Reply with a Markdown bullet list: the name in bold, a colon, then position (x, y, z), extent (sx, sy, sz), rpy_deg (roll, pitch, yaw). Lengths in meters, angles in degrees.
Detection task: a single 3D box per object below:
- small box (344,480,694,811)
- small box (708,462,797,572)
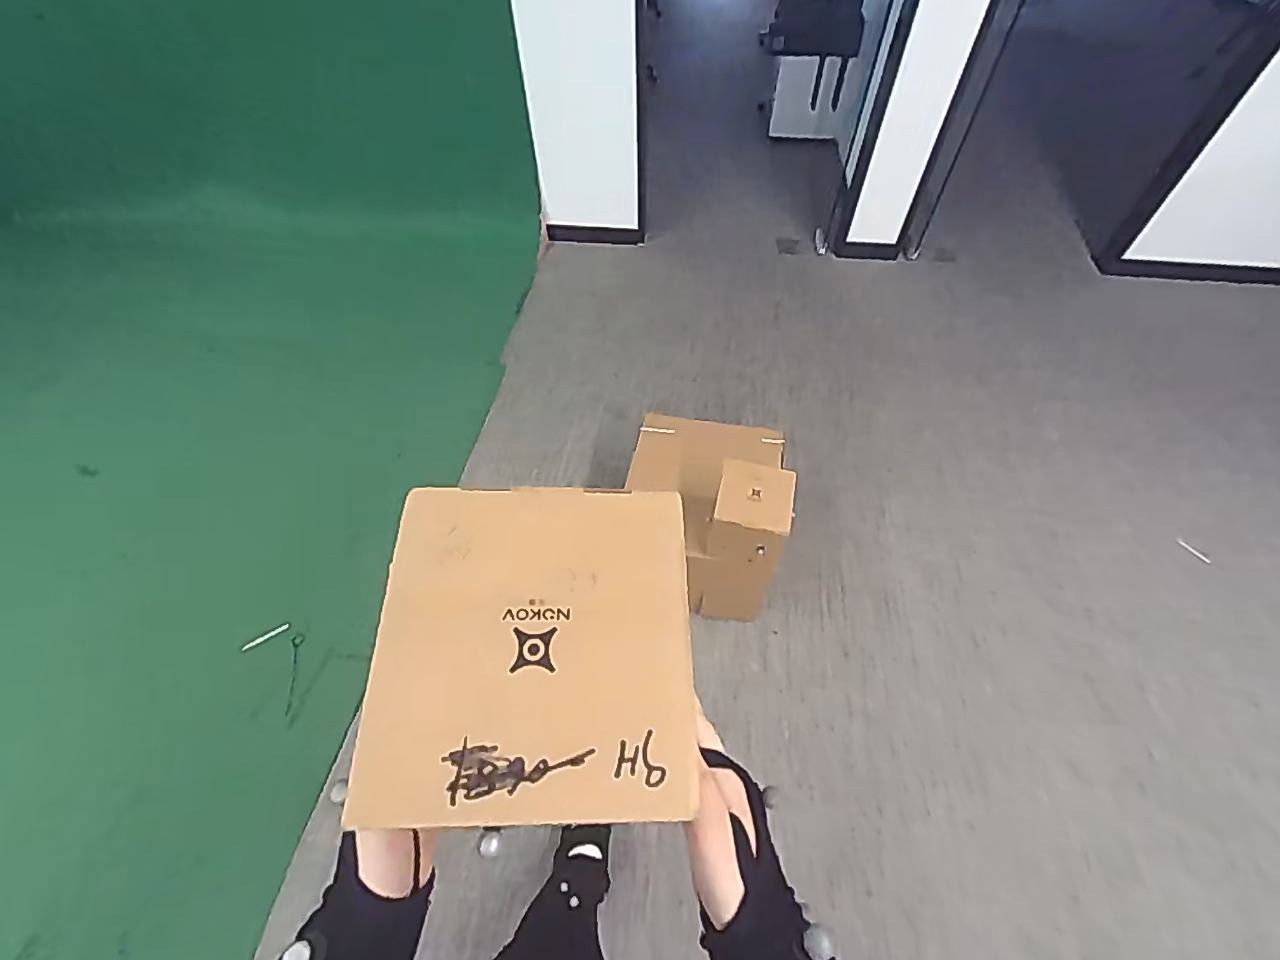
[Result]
- **small box**: position (-0.060, 0.117, 0.362), extent (0.168, 0.176, 0.179), rpy_deg (1, 60, -3)
- **small box**: position (0.256, 0.090, 1.252), extent (0.168, 0.176, 0.179), rpy_deg (13, 53, 8)
